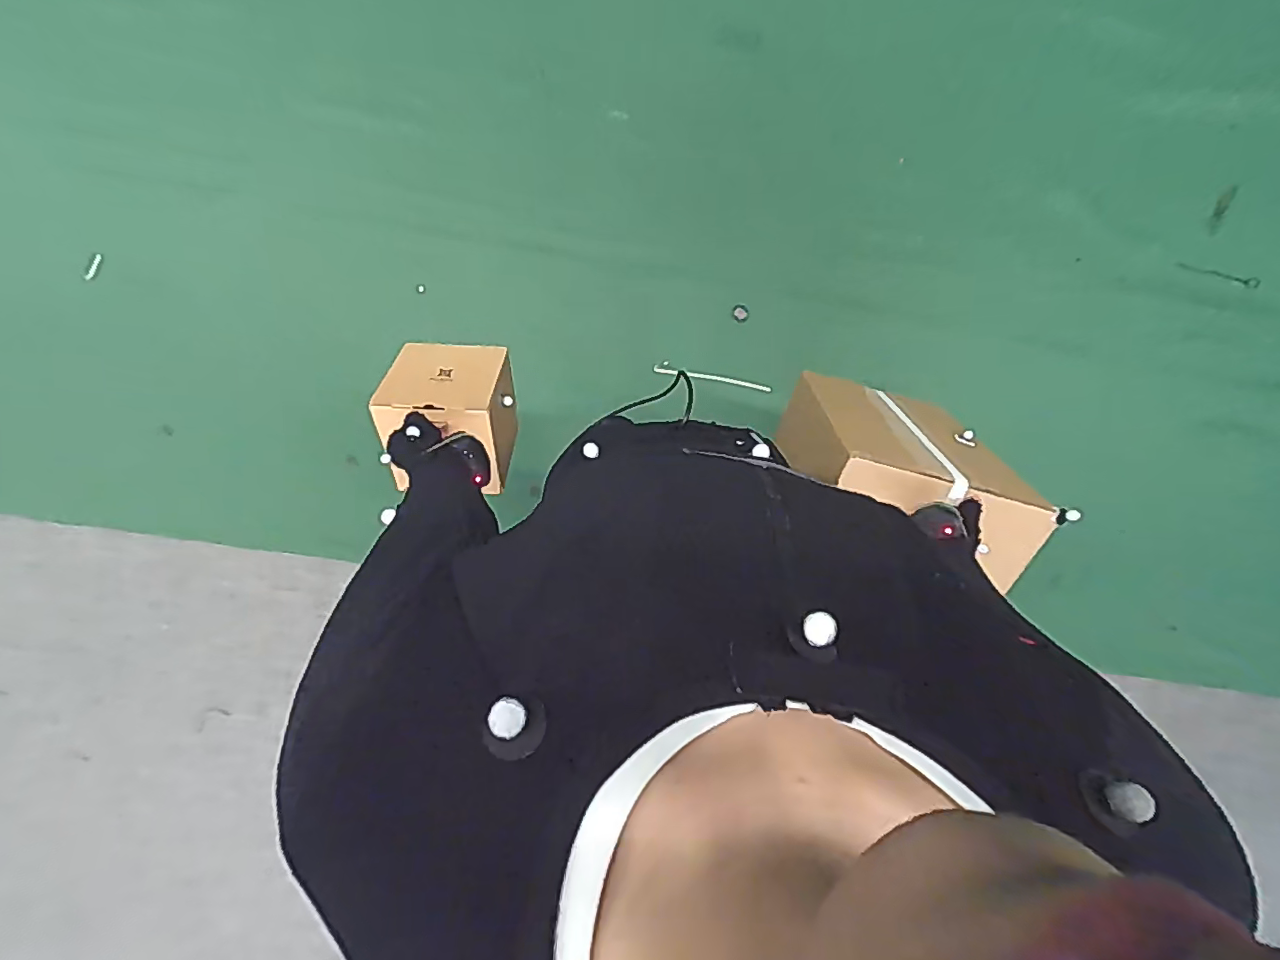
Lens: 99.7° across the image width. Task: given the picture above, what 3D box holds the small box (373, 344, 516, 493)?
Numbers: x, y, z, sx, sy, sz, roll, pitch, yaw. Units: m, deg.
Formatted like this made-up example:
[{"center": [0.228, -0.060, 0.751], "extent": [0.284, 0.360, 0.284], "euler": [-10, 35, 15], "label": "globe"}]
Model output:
[{"center": [-0.301, -0.100, 0.877], "extent": [0.168, 0.179, 0.176], "euler": [1, 133, -2], "label": "small box"}]
